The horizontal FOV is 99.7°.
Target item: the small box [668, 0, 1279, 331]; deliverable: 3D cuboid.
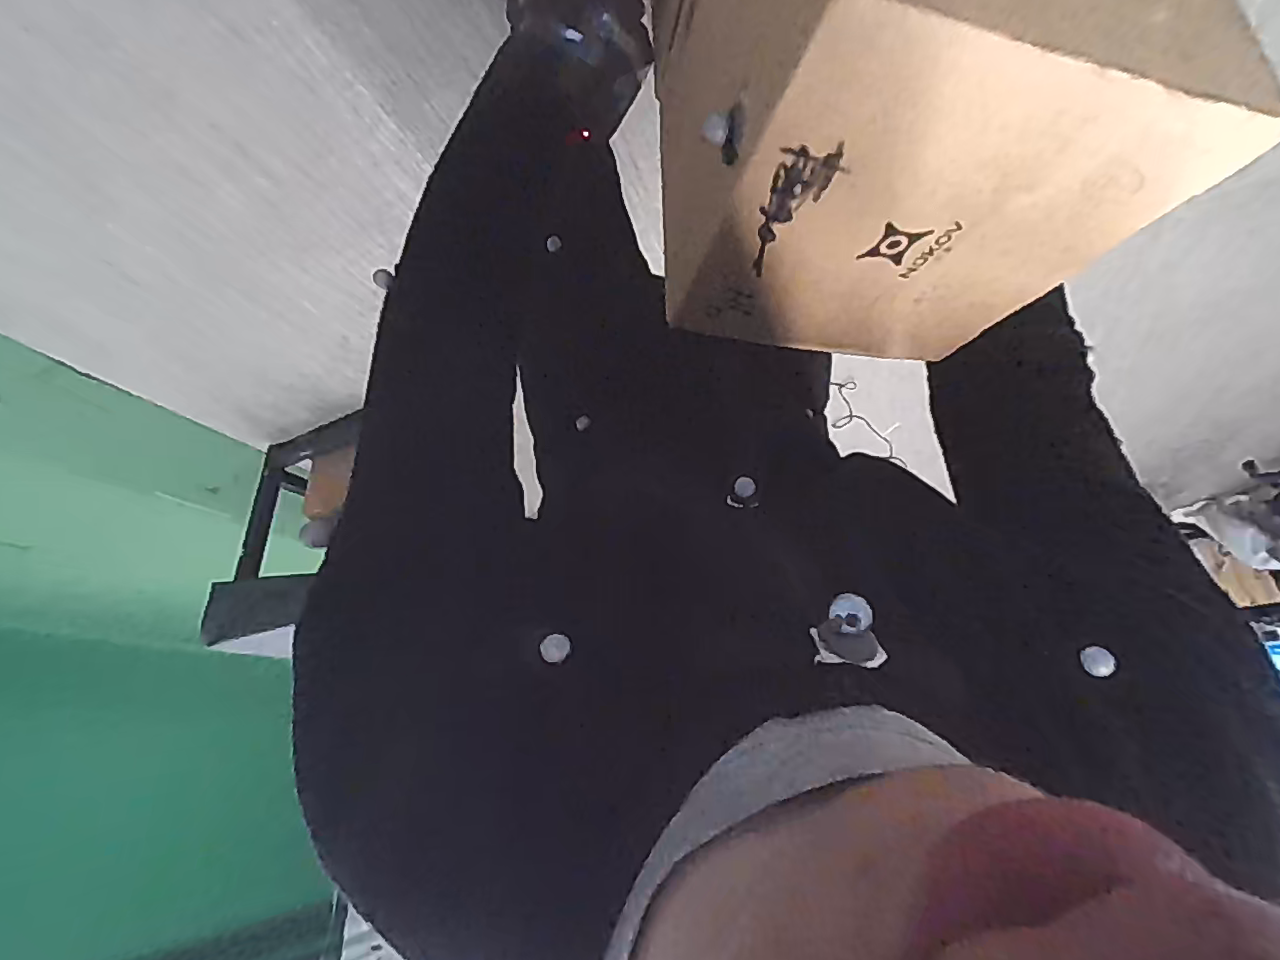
[{"bbox_3d":[0.119,-0.191,0.249,0.179,0.176,0.168,2,163,-13],"label":"small box"}]
